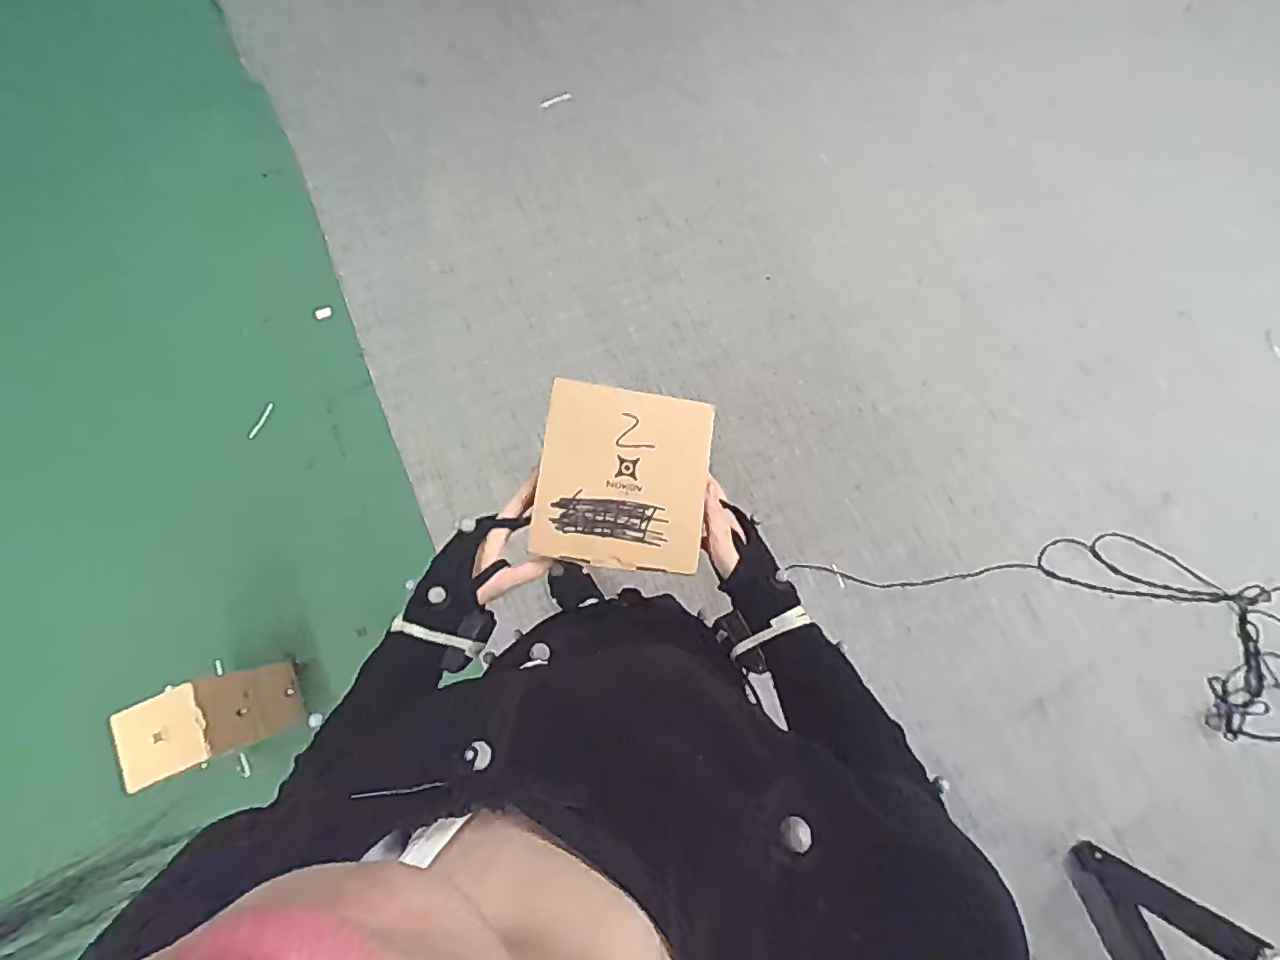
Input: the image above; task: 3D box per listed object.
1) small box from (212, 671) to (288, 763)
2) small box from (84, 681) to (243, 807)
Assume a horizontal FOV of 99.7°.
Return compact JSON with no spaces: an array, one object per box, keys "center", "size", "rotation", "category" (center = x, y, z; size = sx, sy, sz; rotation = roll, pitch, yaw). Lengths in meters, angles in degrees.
[{"center":[-1.012,0.586,1.319],"size":[0.179,0.176,0.168],"rotation":[-23,81,-6],"category":"small box"},{"center":[-1.011,0.554,1.160],"size":[0.179,0.176,0.168],"rotation":[-24,80,-6],"category":"small box"}]
